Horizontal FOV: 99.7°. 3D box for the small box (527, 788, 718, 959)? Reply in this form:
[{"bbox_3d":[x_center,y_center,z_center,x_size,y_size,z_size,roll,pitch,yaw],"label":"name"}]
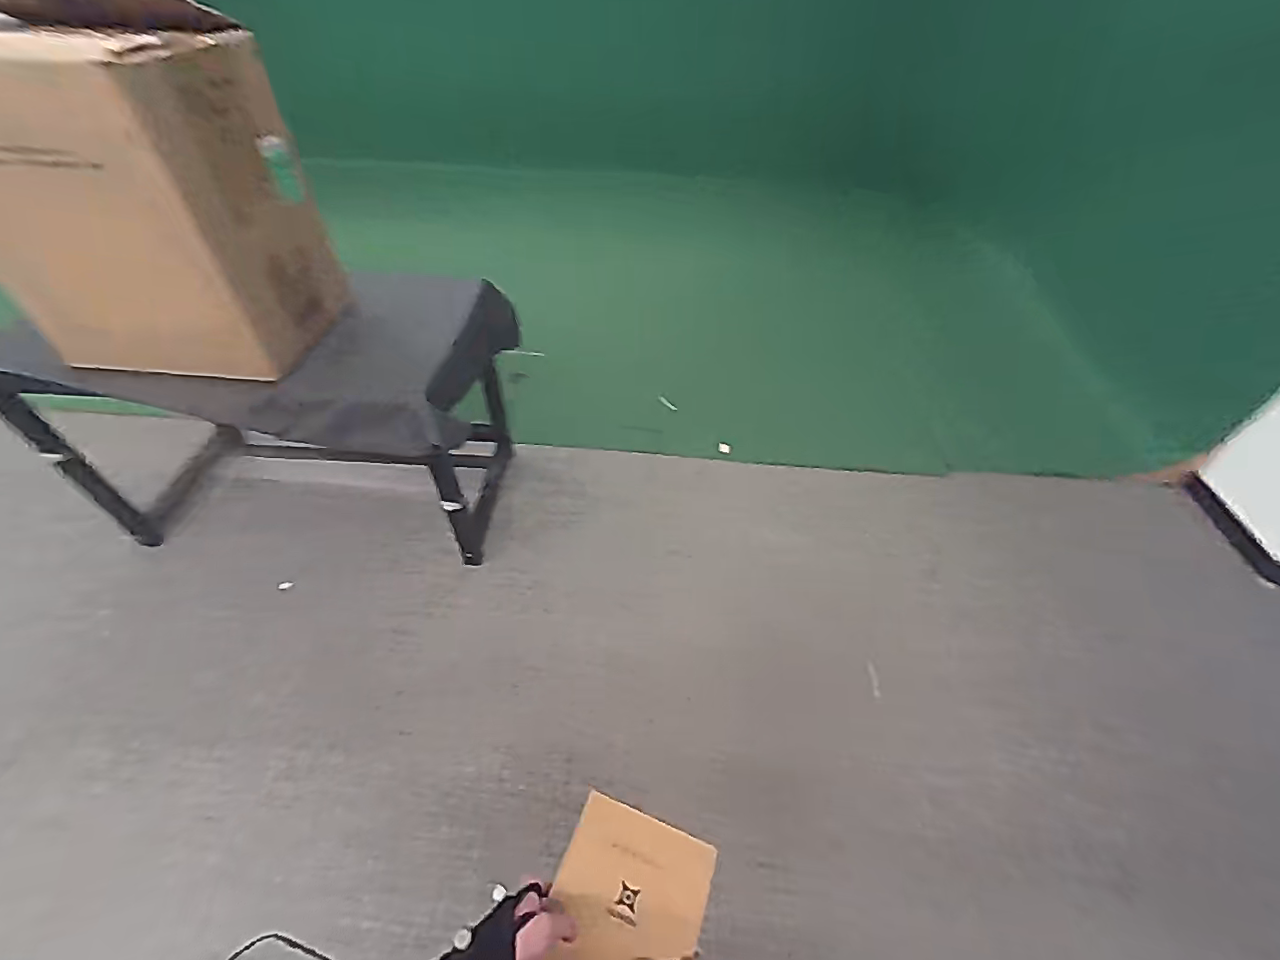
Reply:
[{"bbox_3d":[-0.020,0.515,0.642,0.168,0.176,0.179,18,41,9],"label":"small box"}]
